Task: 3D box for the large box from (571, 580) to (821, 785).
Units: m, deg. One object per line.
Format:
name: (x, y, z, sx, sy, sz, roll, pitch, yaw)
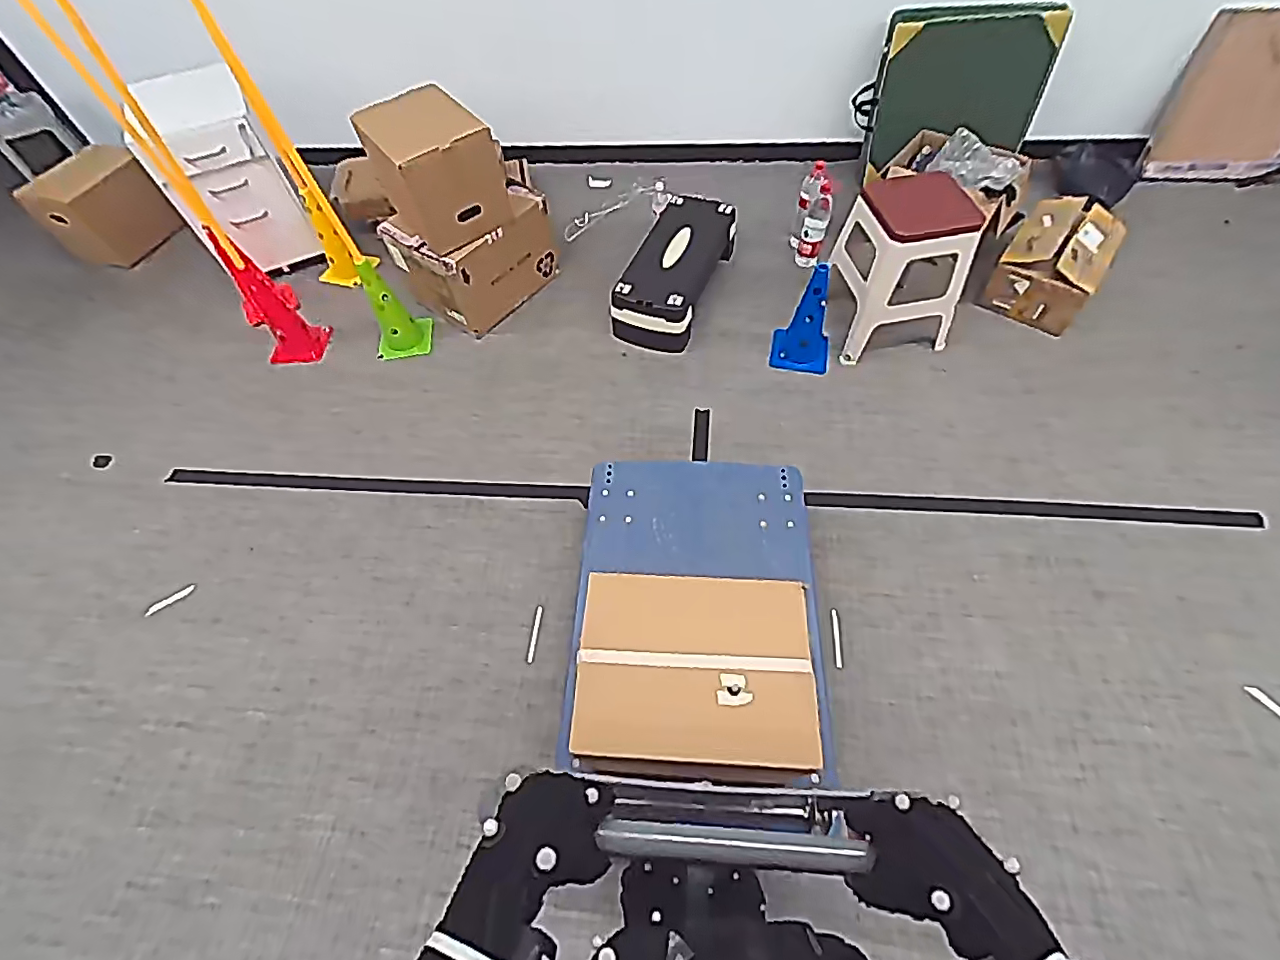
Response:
large box: (0.094, 0.403, 1.056, 0.408, 0.320, 0.320, 2, 58, 3)
